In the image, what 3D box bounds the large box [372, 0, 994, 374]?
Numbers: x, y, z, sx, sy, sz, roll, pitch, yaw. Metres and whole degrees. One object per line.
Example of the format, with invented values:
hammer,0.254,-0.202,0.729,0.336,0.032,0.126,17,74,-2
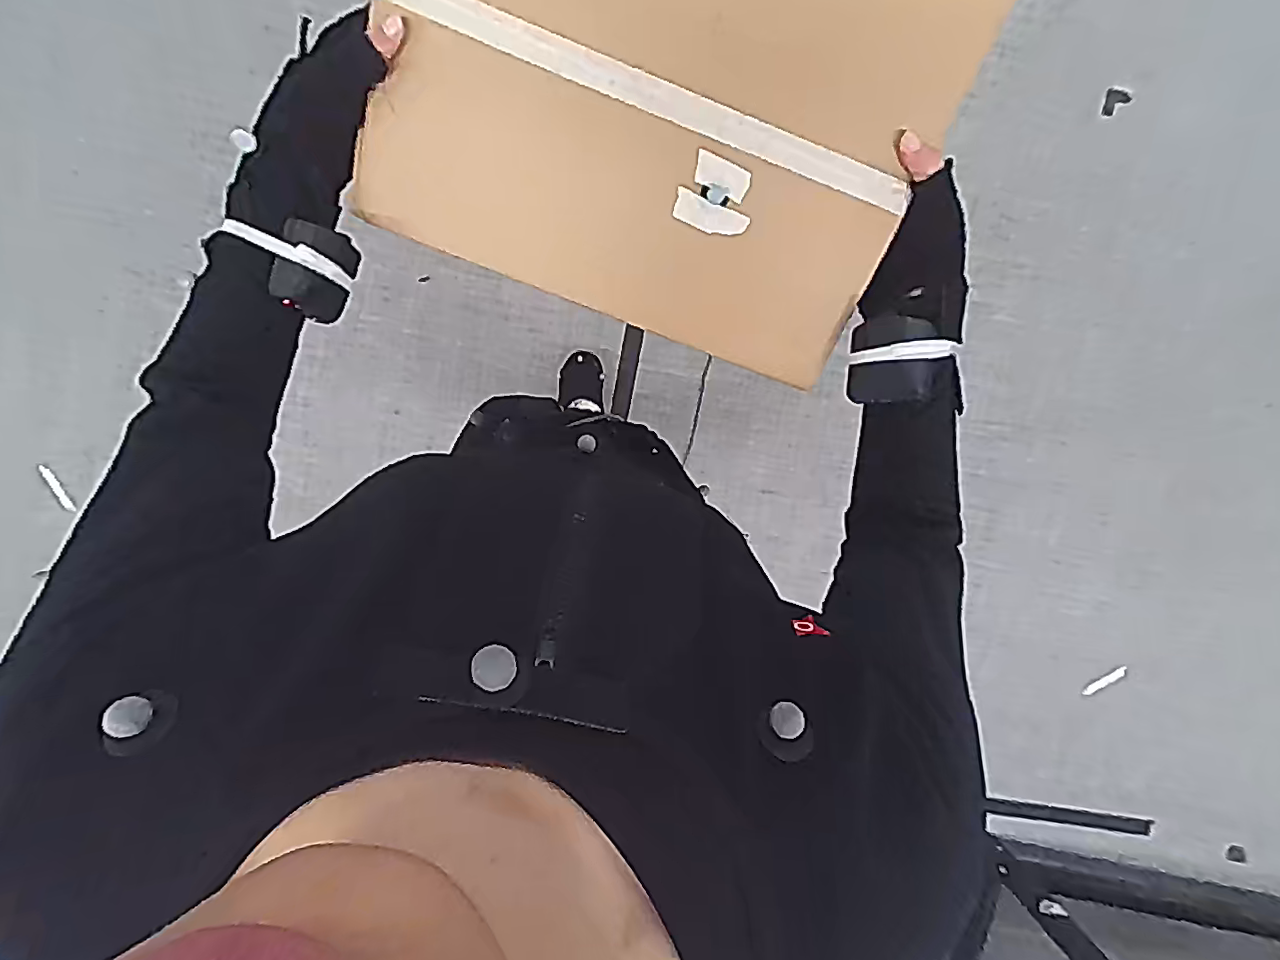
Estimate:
large box,0.019,-0.347,0.535,0.408,0.320,0.320,19,117,-6
